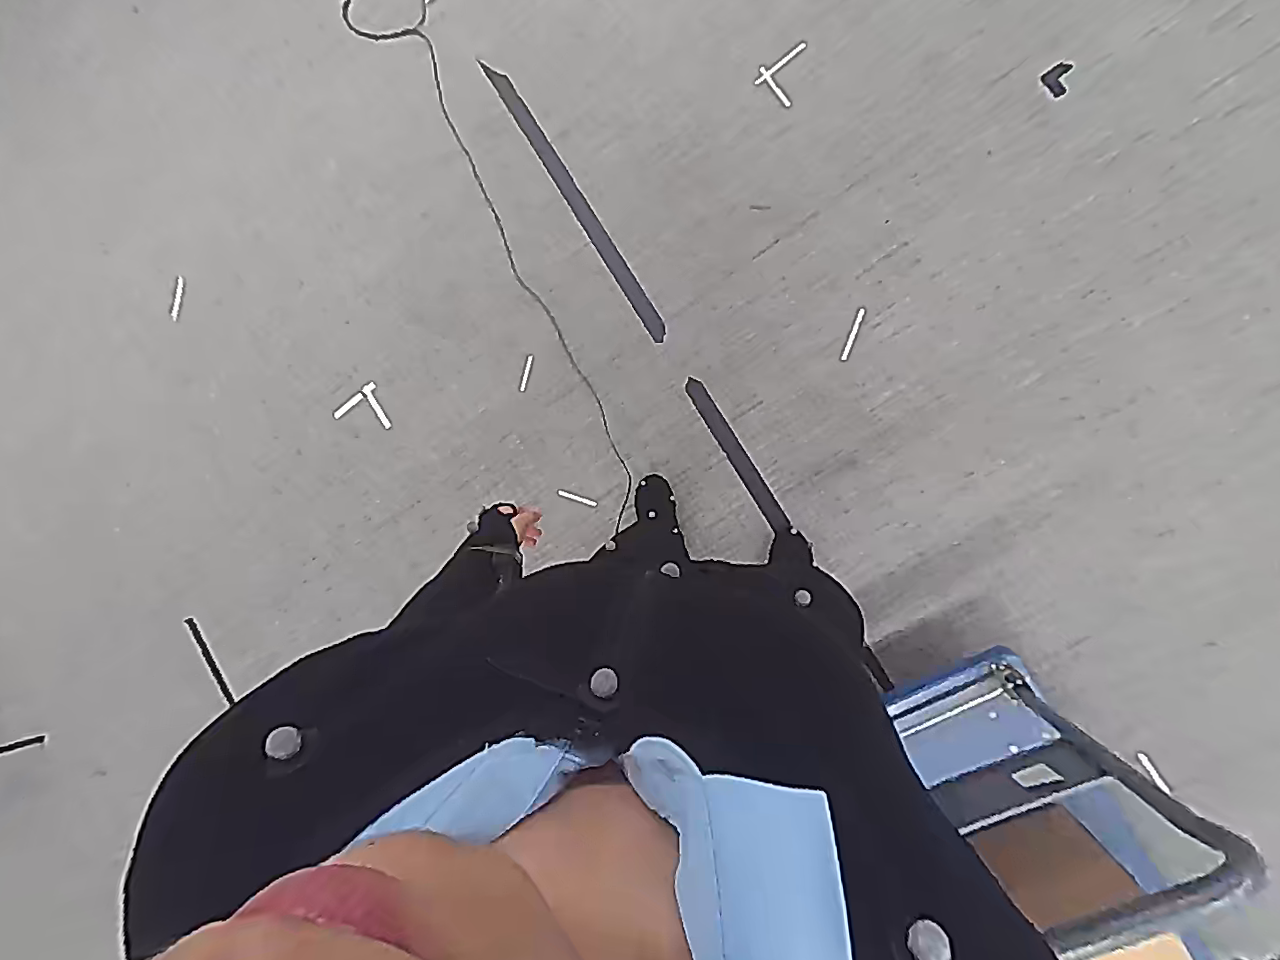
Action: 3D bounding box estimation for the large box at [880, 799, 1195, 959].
[{"bbox_3d":[0.736,0.884,0.999,0.408,0.320,0.320,-29,84,10],"label":"large box"}]
